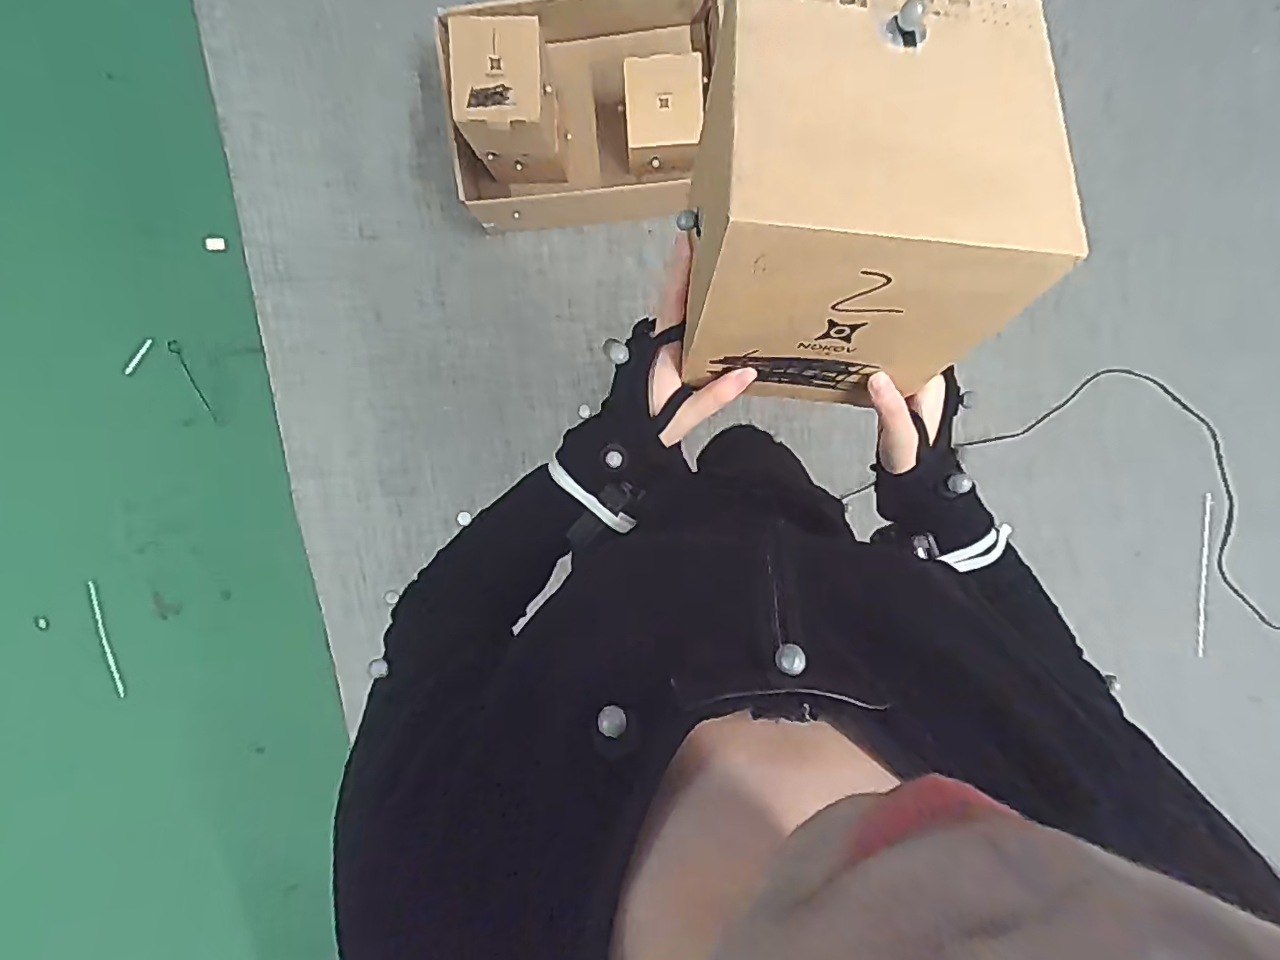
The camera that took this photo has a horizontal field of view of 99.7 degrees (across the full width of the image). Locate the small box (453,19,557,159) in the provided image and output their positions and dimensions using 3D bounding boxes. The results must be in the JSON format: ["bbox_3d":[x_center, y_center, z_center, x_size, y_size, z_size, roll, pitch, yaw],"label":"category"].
[{"bbox_3d":[-0.258,-0.760,1.069,0.168,0.176,0.179,0,98,0],"label":"small box"}]
